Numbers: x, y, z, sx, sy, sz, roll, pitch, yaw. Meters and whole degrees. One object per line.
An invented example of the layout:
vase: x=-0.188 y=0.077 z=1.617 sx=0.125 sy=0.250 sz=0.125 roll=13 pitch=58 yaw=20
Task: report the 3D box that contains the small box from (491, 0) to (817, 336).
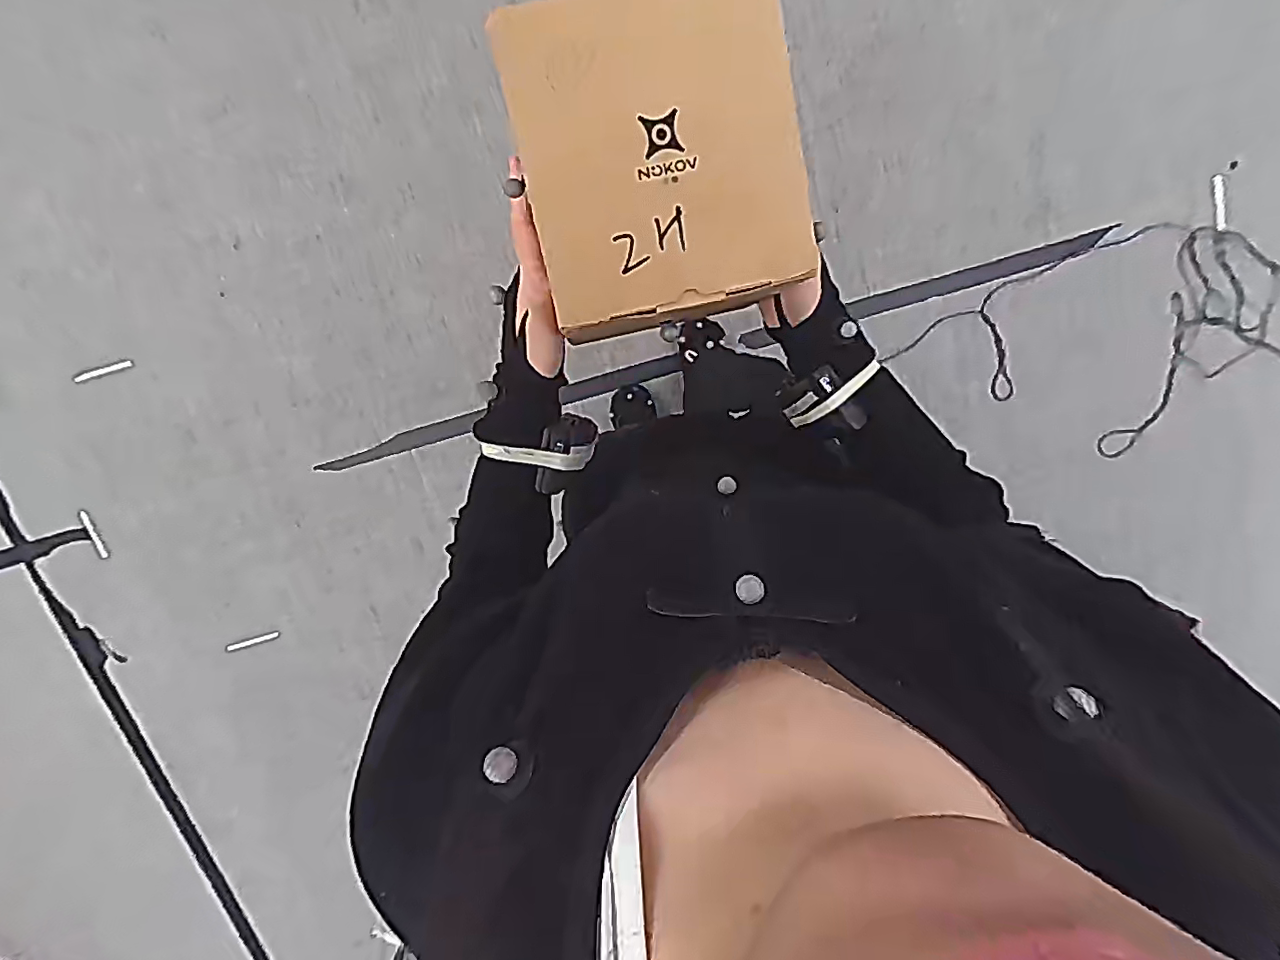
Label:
small box: x=0.006 y=-0.212 z=0.391 sx=0.168 sy=0.176 sz=0.179 roll=-13 pitch=102 yaw=-2
